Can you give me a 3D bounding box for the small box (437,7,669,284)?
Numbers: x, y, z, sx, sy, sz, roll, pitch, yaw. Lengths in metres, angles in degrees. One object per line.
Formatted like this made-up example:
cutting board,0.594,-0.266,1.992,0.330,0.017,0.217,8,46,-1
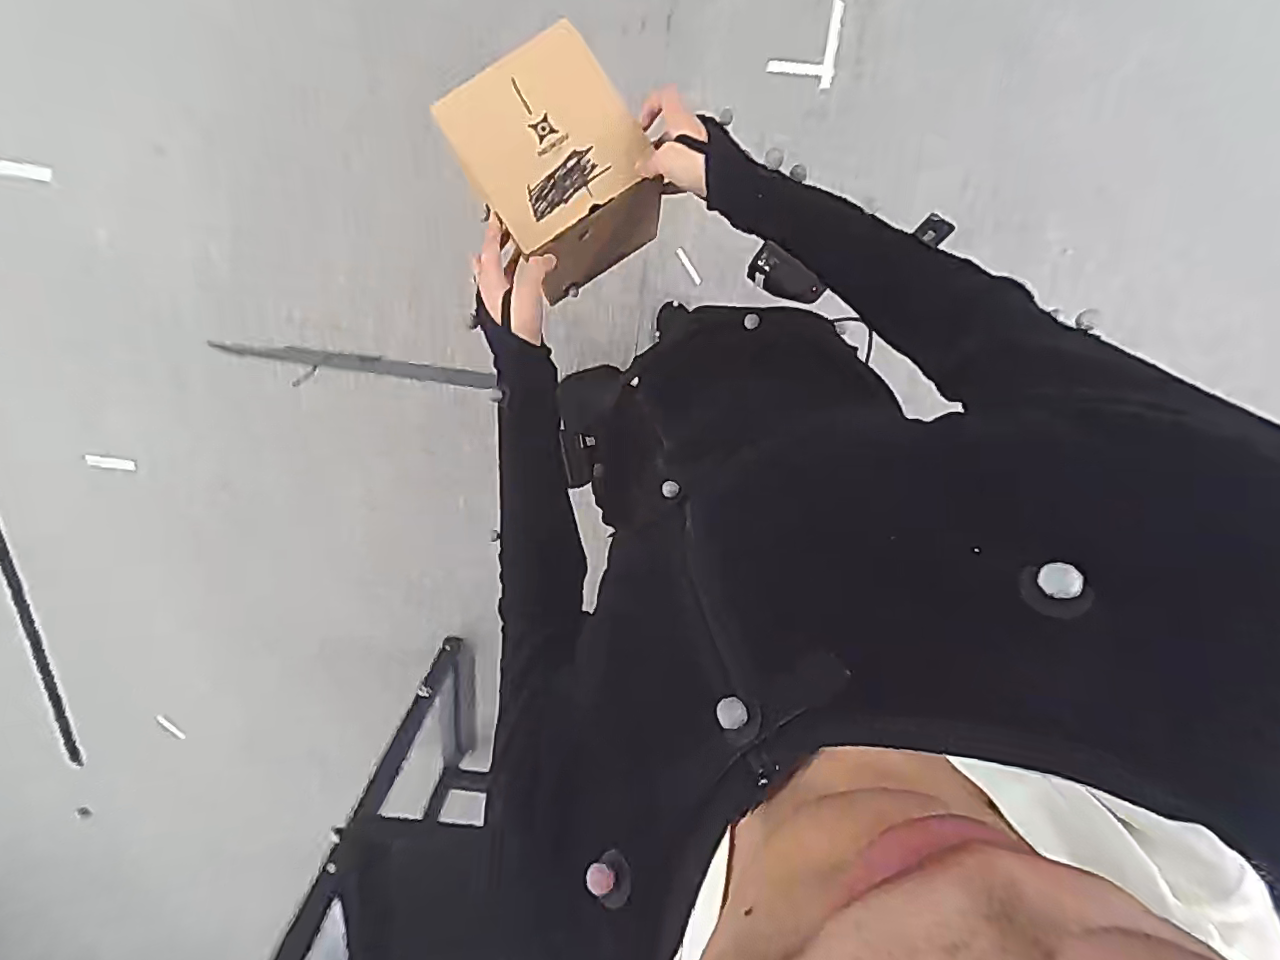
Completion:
small box,-0.084,-0.343,0.601,0.168,0.176,0.179,-32,92,-1
